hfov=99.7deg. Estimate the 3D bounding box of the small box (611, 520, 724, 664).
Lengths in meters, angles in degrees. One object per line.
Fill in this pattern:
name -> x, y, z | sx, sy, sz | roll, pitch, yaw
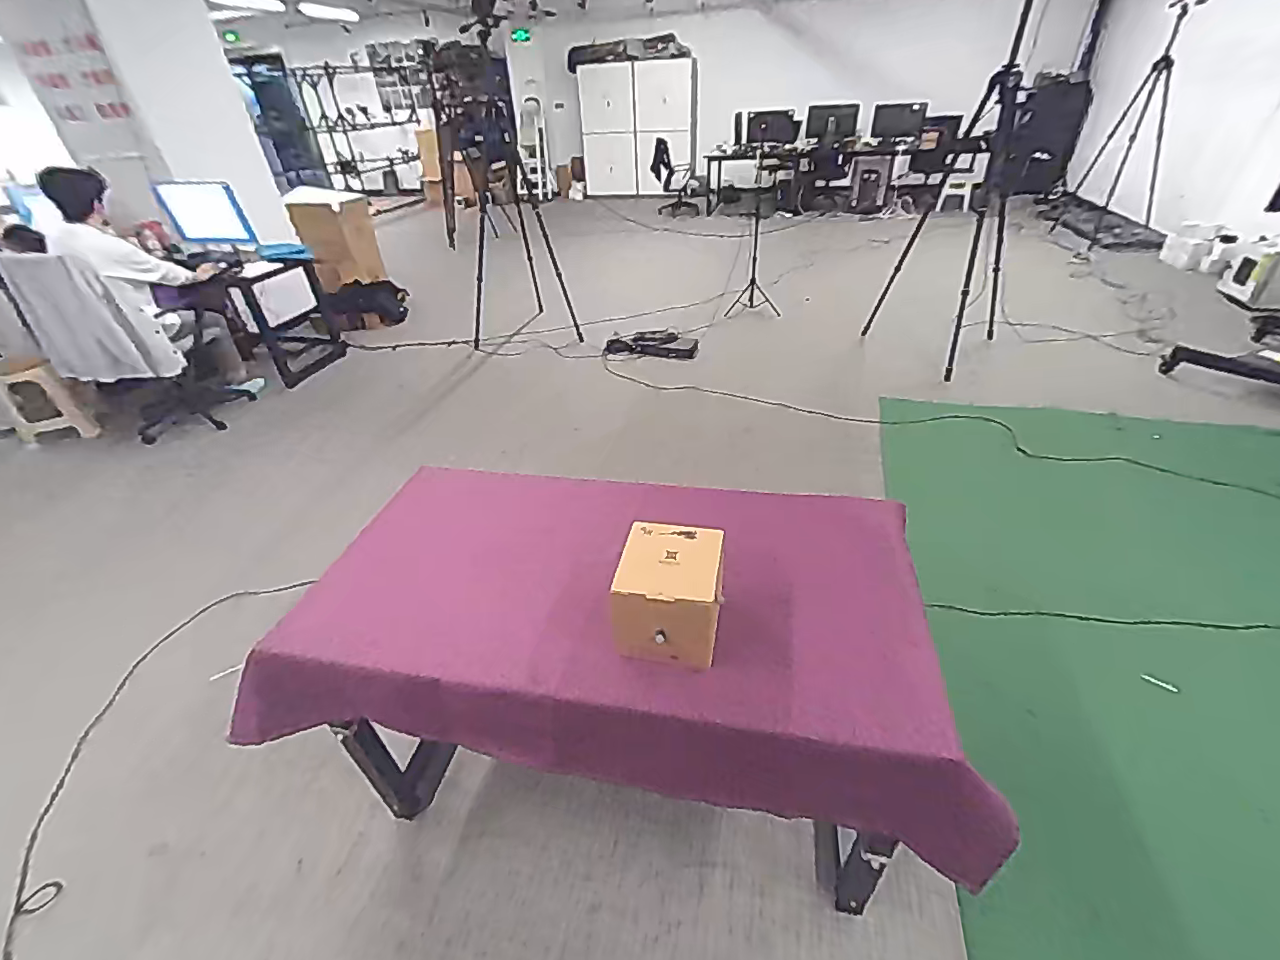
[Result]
small box -> 0.056, 0.196, 0.950 | 0.168, 0.176, 0.179 | 6, 38, 12
